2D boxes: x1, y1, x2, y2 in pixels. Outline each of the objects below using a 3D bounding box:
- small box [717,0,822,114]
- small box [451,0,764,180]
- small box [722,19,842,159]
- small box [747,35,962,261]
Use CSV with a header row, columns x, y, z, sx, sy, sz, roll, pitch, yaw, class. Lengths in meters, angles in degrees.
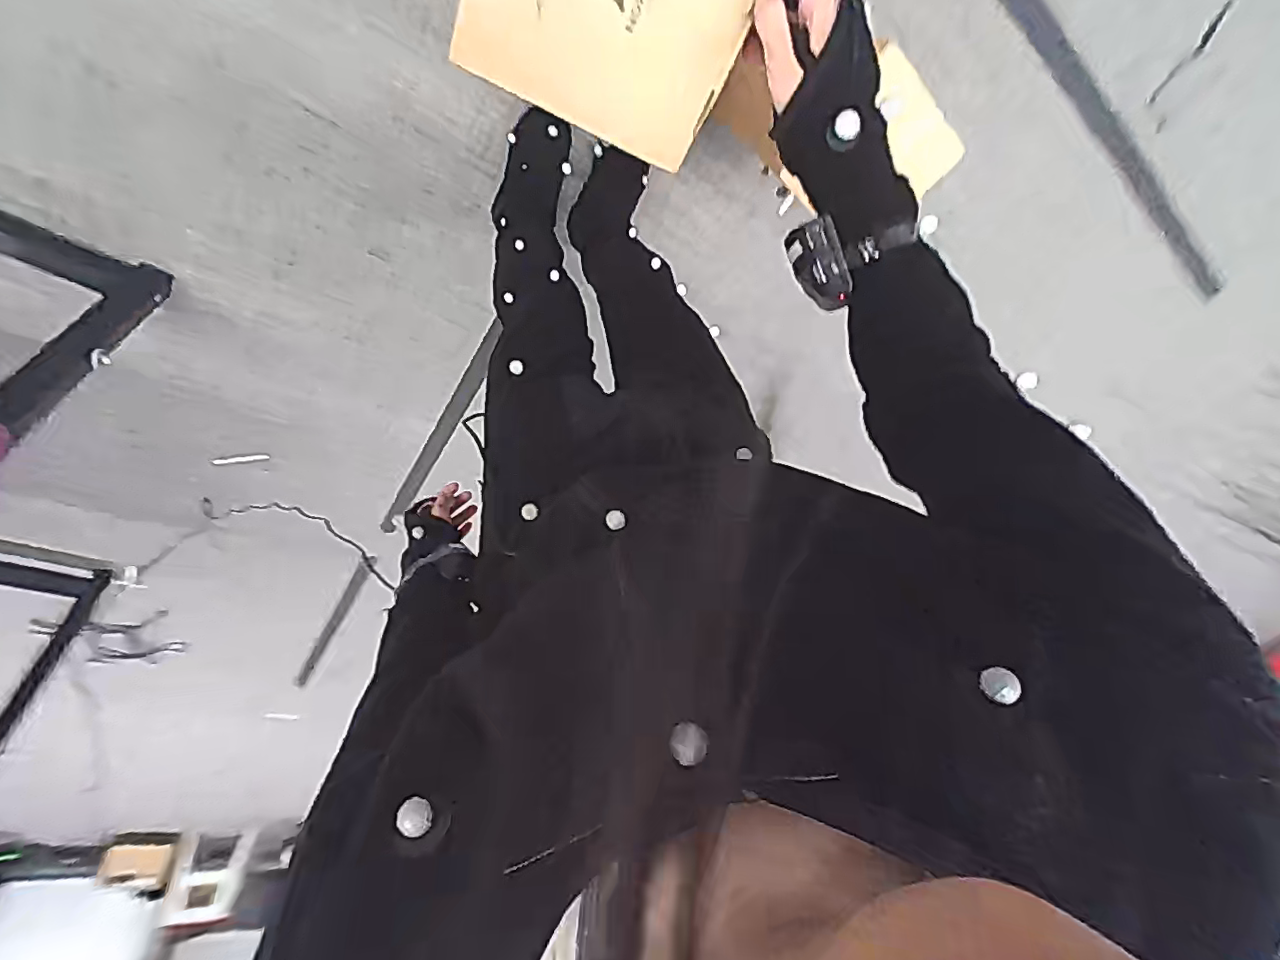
x,y,z,sx,sy,sz,roll,pitch,yaw,class
0.235,-0.684,0.926,0.168,0.176,0.179,21,127,-29,small box
-0.025,-0.358,0.388,0.179,0.176,0.168,12,131,-25,small box
0.251,-0.555,0.824,0.179,0.176,0.168,23,127,-31,small box
0.272,-0.436,0.712,0.179,0.176,0.168,26,126,-33,small box
